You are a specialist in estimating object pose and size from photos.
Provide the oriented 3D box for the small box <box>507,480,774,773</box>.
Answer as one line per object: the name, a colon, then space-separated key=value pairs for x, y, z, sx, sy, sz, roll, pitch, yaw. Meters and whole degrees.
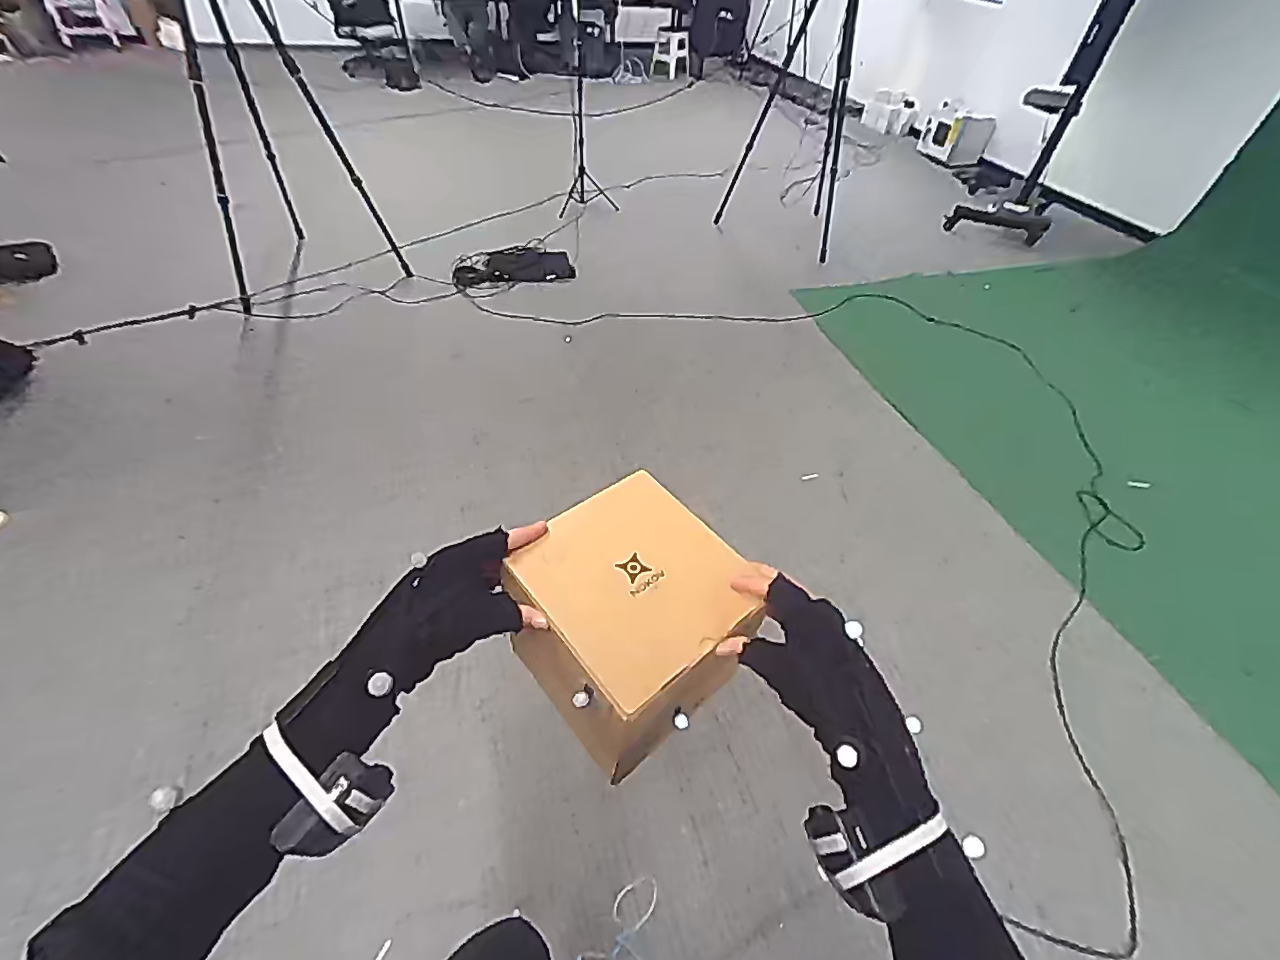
small box: x=-0.010 y=0.137 z=0.517 sx=0.168 sy=0.176 sz=0.179 roll=-29 pitch=57 yaw=-31
